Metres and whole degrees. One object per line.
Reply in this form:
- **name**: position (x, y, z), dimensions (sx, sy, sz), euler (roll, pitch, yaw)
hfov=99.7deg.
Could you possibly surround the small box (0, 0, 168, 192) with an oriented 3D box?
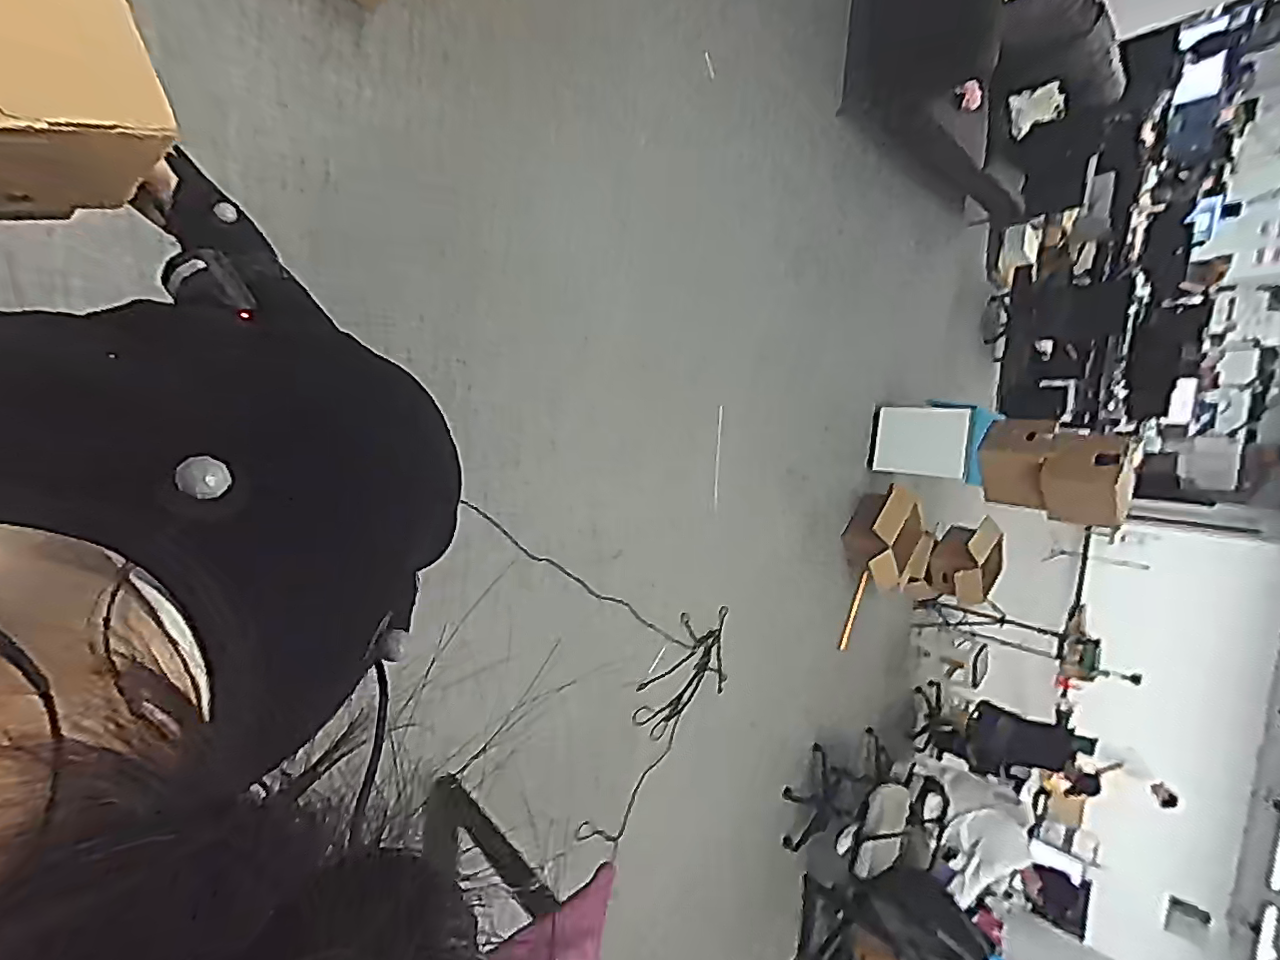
- **small box**: position (-0.398, -0.266, 0.273), dimensions (0.168, 0.176, 0.179), euler (-33, 119, -47)
